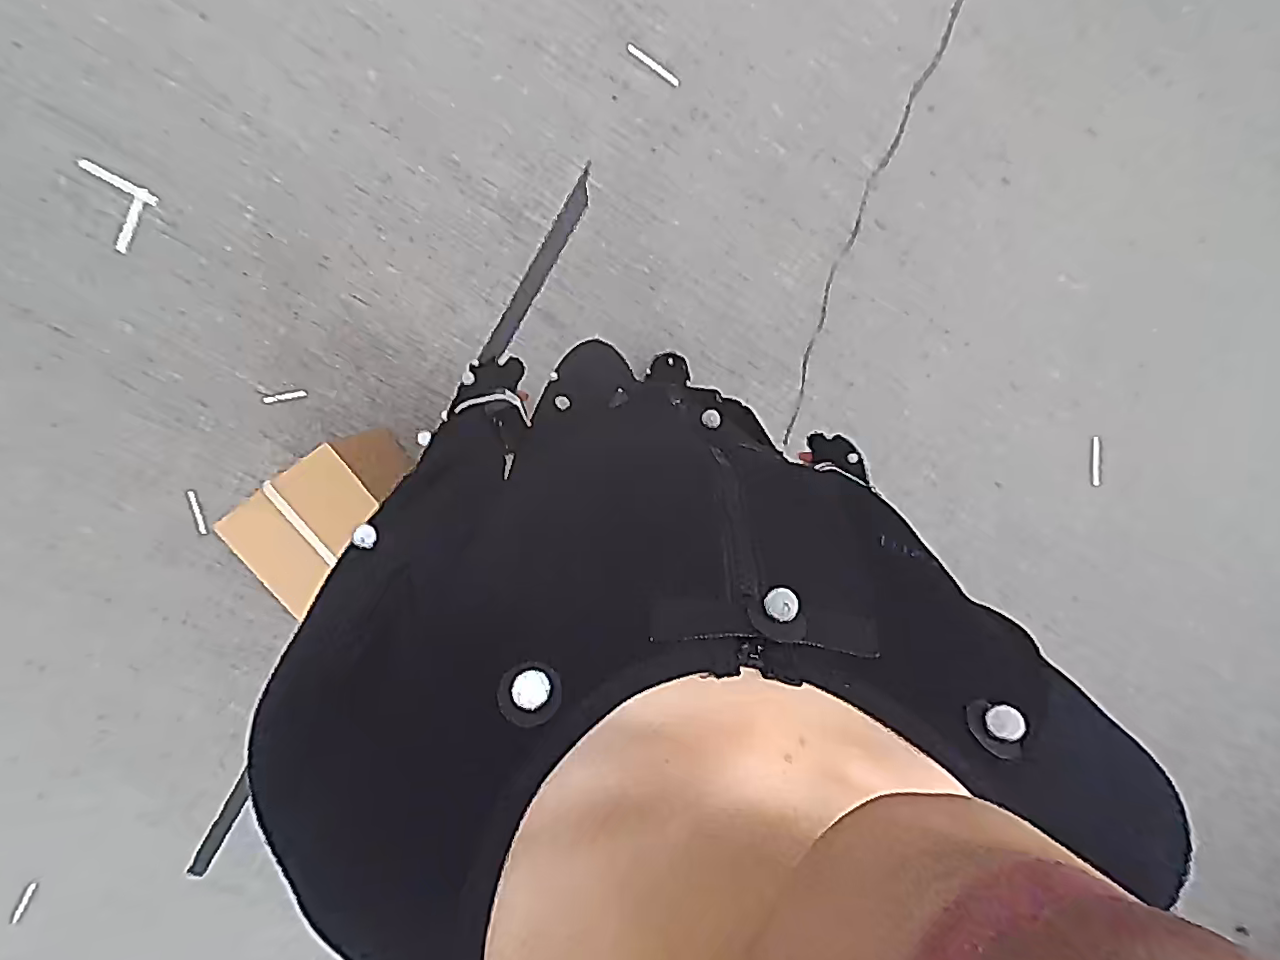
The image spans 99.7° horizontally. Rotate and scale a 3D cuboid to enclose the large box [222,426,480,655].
[{"bbox_3d":[-0.663,0.127,1.320,0.320,0.320,0.408,-35,102,3],"label":"large box"}]
